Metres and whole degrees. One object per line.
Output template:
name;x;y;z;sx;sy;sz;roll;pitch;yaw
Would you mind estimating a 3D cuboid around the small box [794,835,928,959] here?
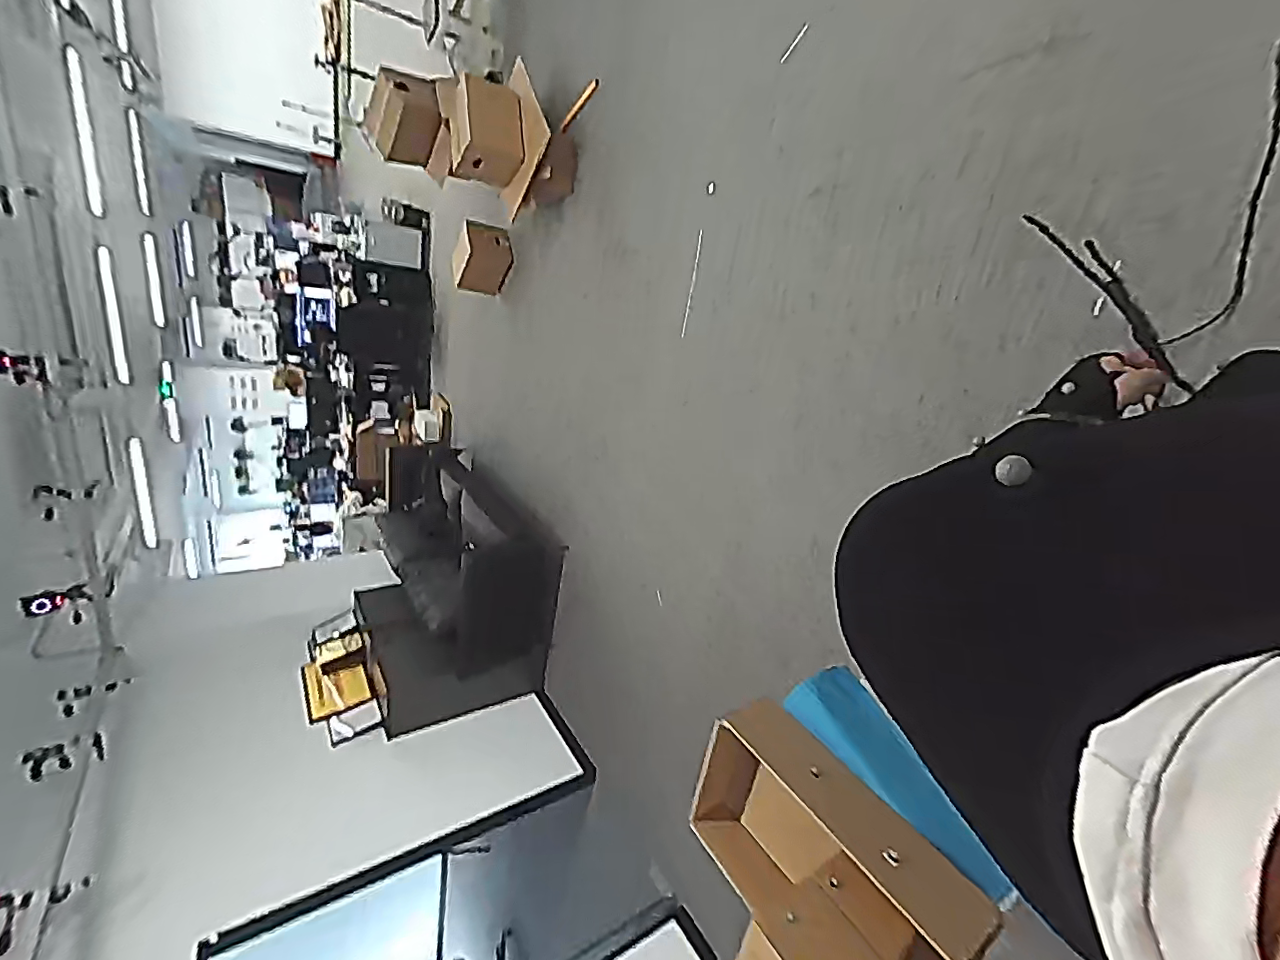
small box;0.459;0.895;1.127;0.179;0.176;0.168;37;125;50
